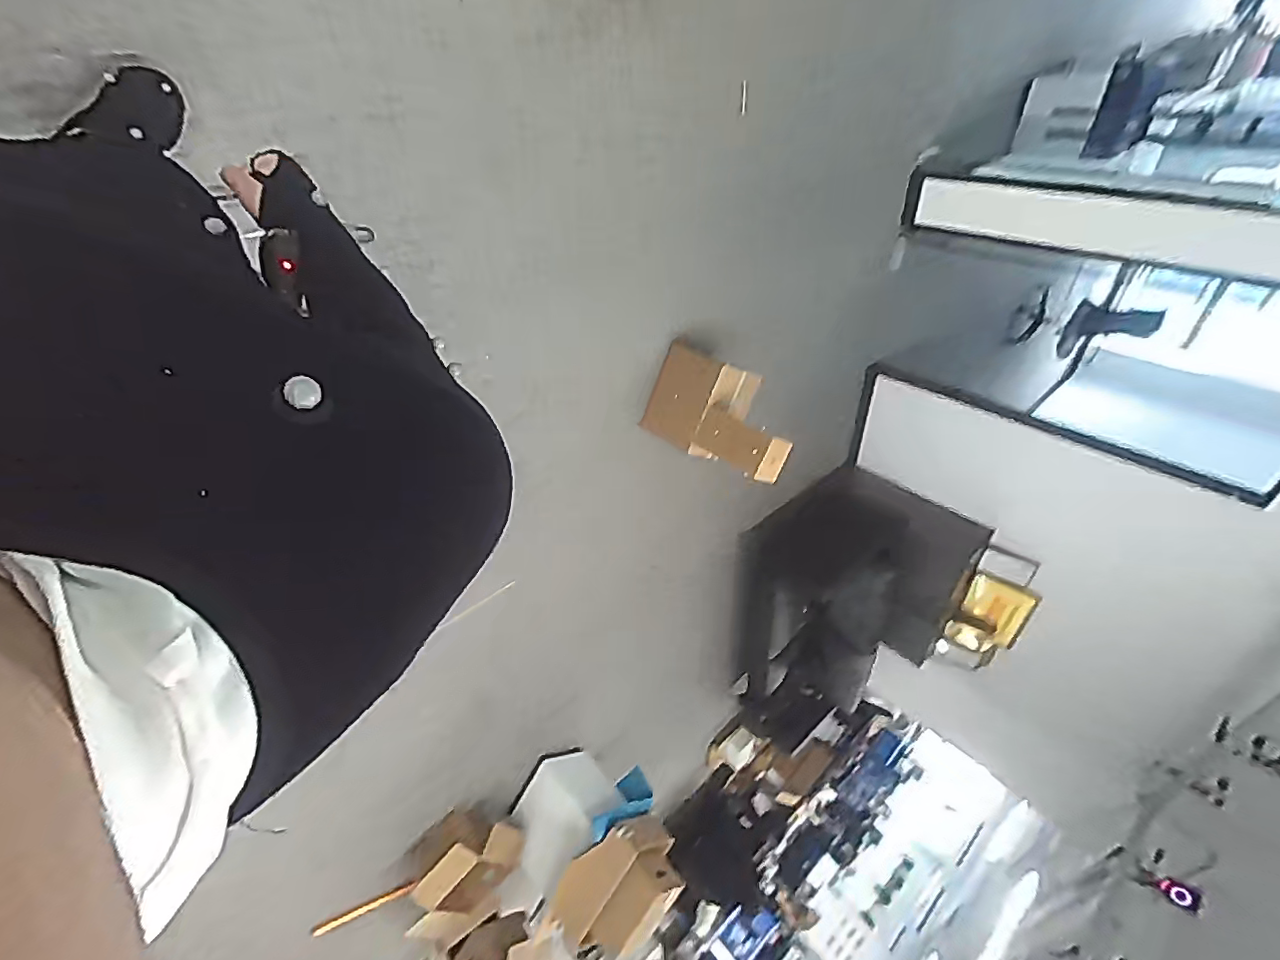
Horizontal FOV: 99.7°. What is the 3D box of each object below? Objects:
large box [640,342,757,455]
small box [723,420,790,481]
[{"bbox_3d":[0.257,-0.360,2.428,0.320,0.320,0.408,2,115,-49],"label":"large box"},{"bbox_3d":[0.458,-0.116,2.154,0.168,0.176,0.179,8,110,-48],"label":"small box"}]
